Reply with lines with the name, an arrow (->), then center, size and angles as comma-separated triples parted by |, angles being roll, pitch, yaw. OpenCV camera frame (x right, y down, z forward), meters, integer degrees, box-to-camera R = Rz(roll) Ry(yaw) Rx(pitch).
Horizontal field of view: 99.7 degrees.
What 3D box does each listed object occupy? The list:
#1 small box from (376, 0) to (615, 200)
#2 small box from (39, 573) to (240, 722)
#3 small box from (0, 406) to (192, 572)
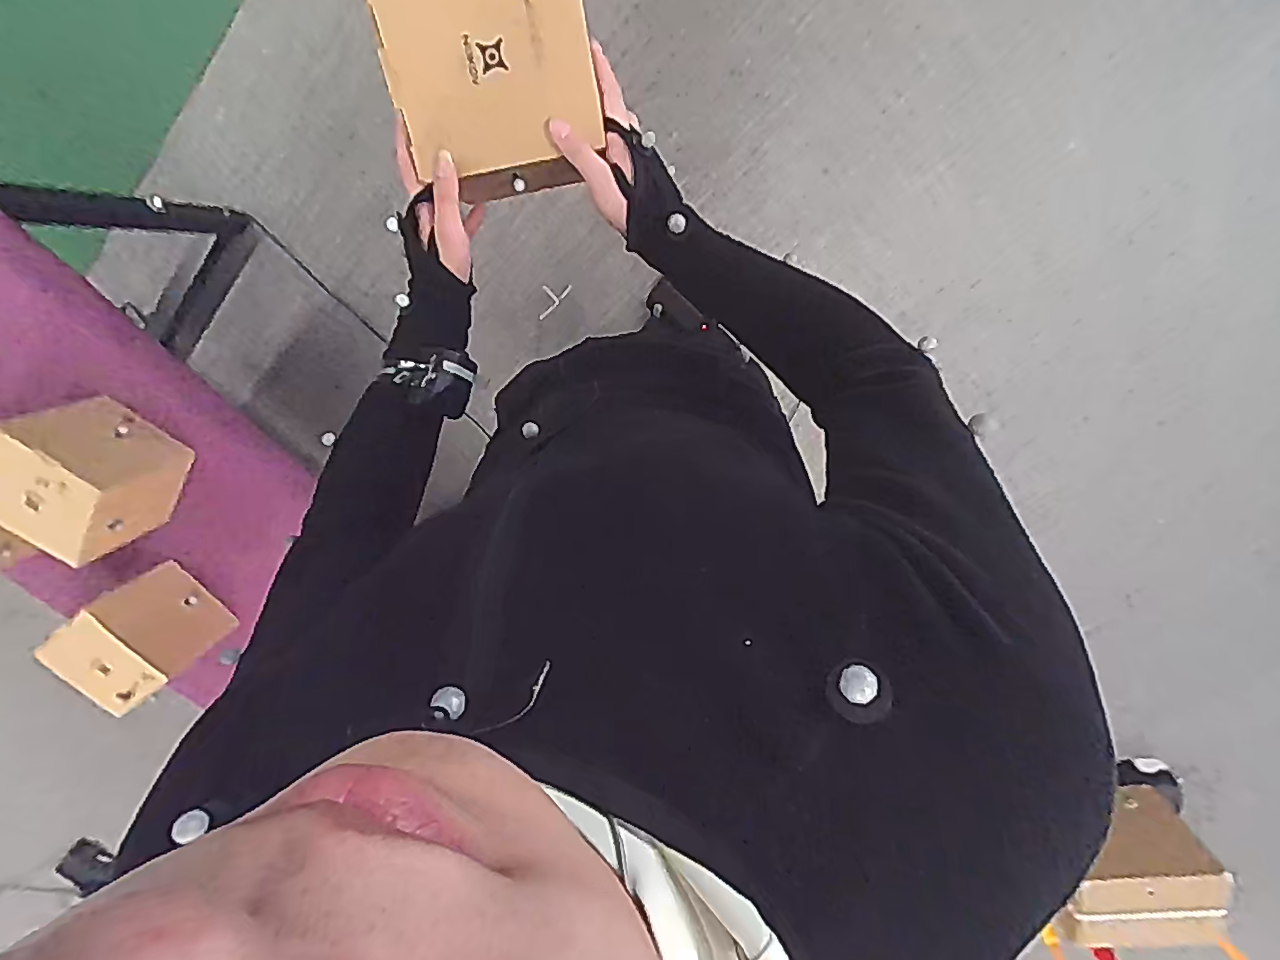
small box -> -0.124, -0.386, 0.531 | 0.179, 0.176, 0.168 | -9, 111, 2
small box -> -0.908, 0.296, 0.999 | 0.168, 0.176, 0.179 | -33, 105, 16
small box -> -0.890, 0.008, 0.881 | 0.168, 0.176, 0.179 | 36, 111, -10
